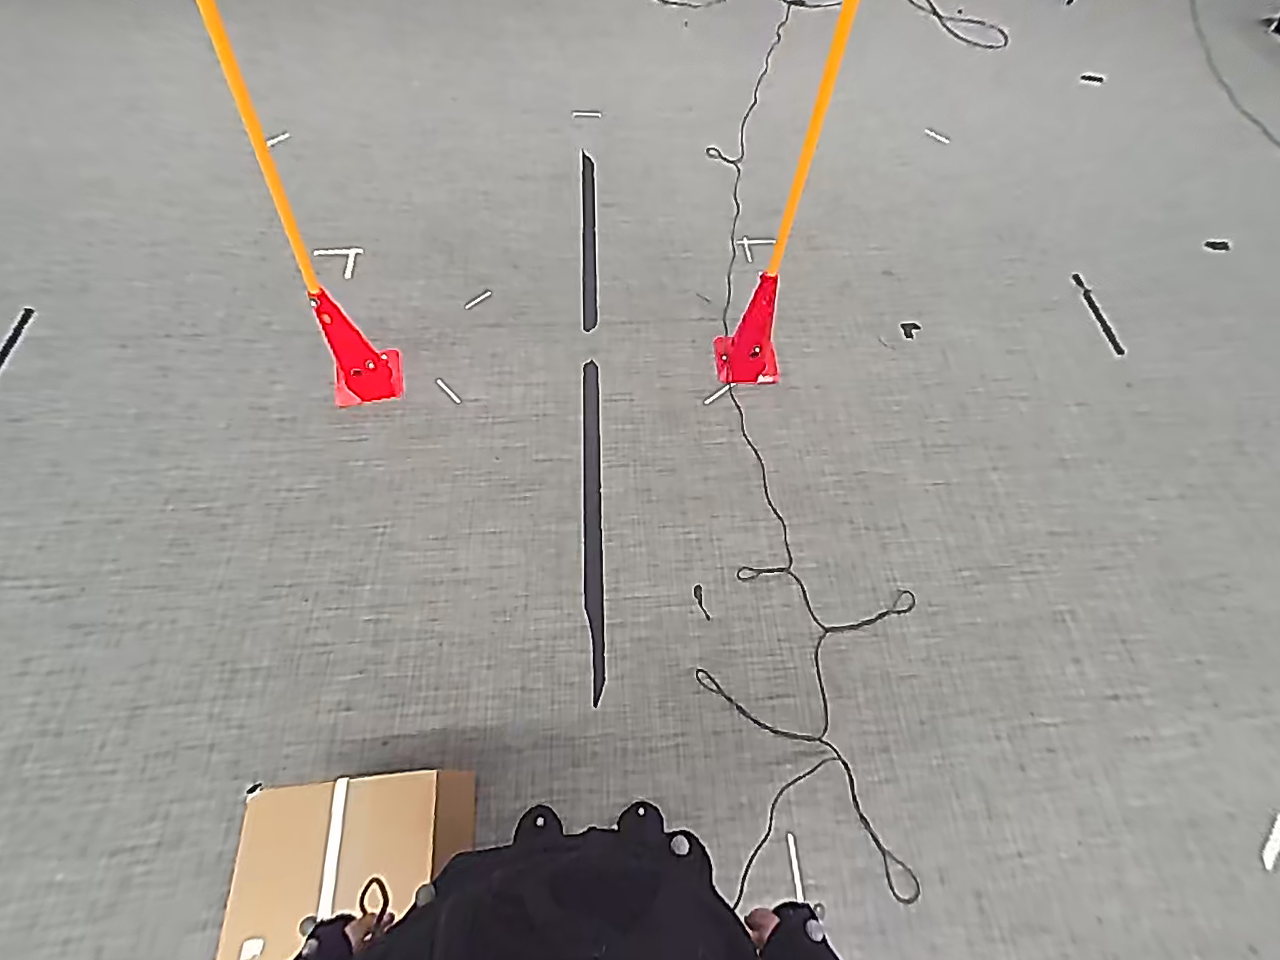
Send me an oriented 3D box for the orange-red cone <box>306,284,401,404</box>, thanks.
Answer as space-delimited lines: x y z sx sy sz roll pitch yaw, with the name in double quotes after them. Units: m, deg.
-0.848 -0.407 1.543 0.199 0.360 0.198 -11 62 -7 "orange-red cone"
